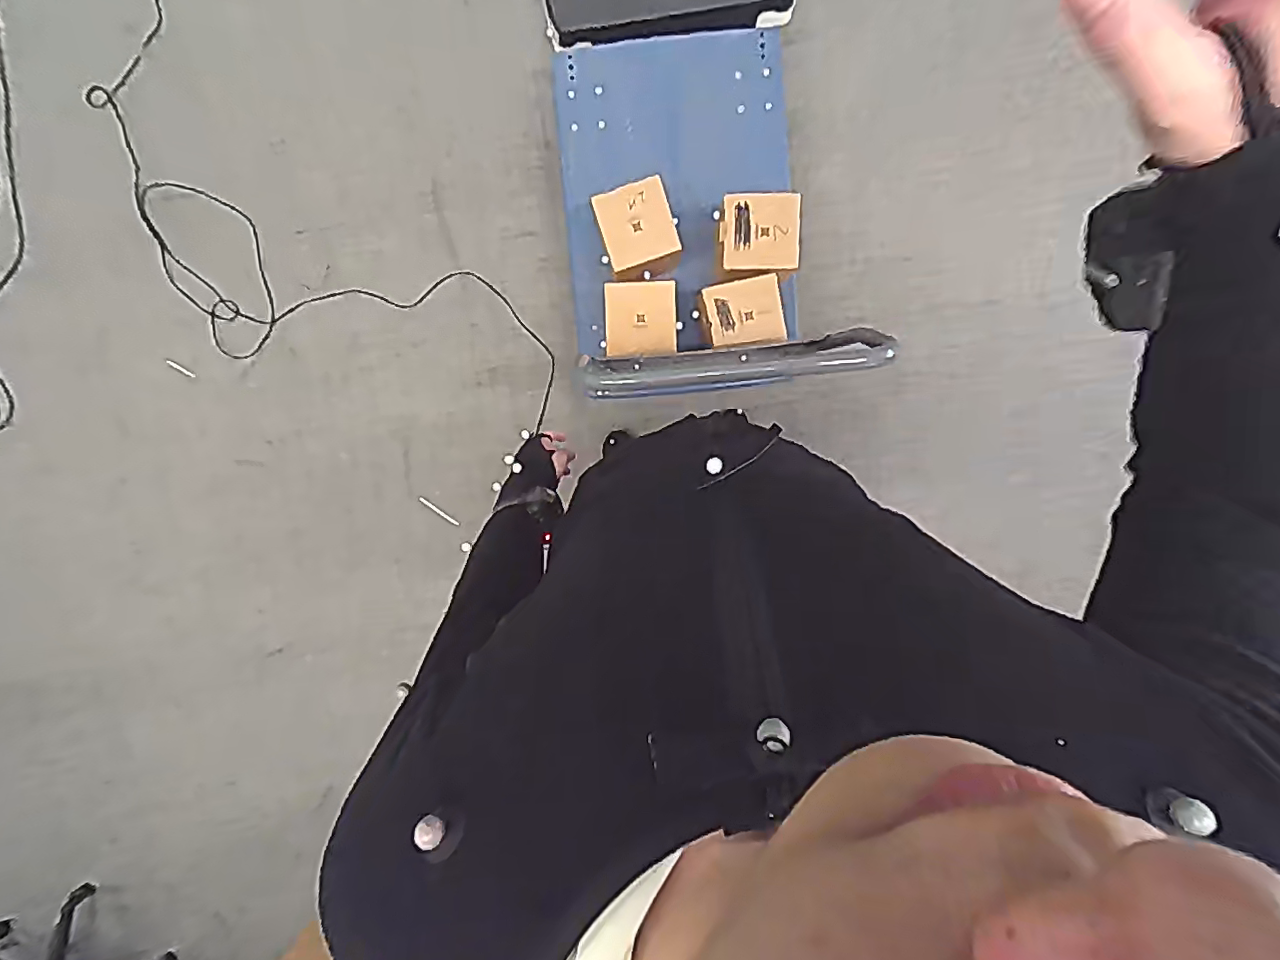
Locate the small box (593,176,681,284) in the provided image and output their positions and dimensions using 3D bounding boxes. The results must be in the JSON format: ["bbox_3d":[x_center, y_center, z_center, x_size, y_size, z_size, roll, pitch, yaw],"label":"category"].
[{"bbox_3d":[-0.005,-0.589,1.306,0.168,0.176,0.179,-18,96,2],"label":"small box"}]
